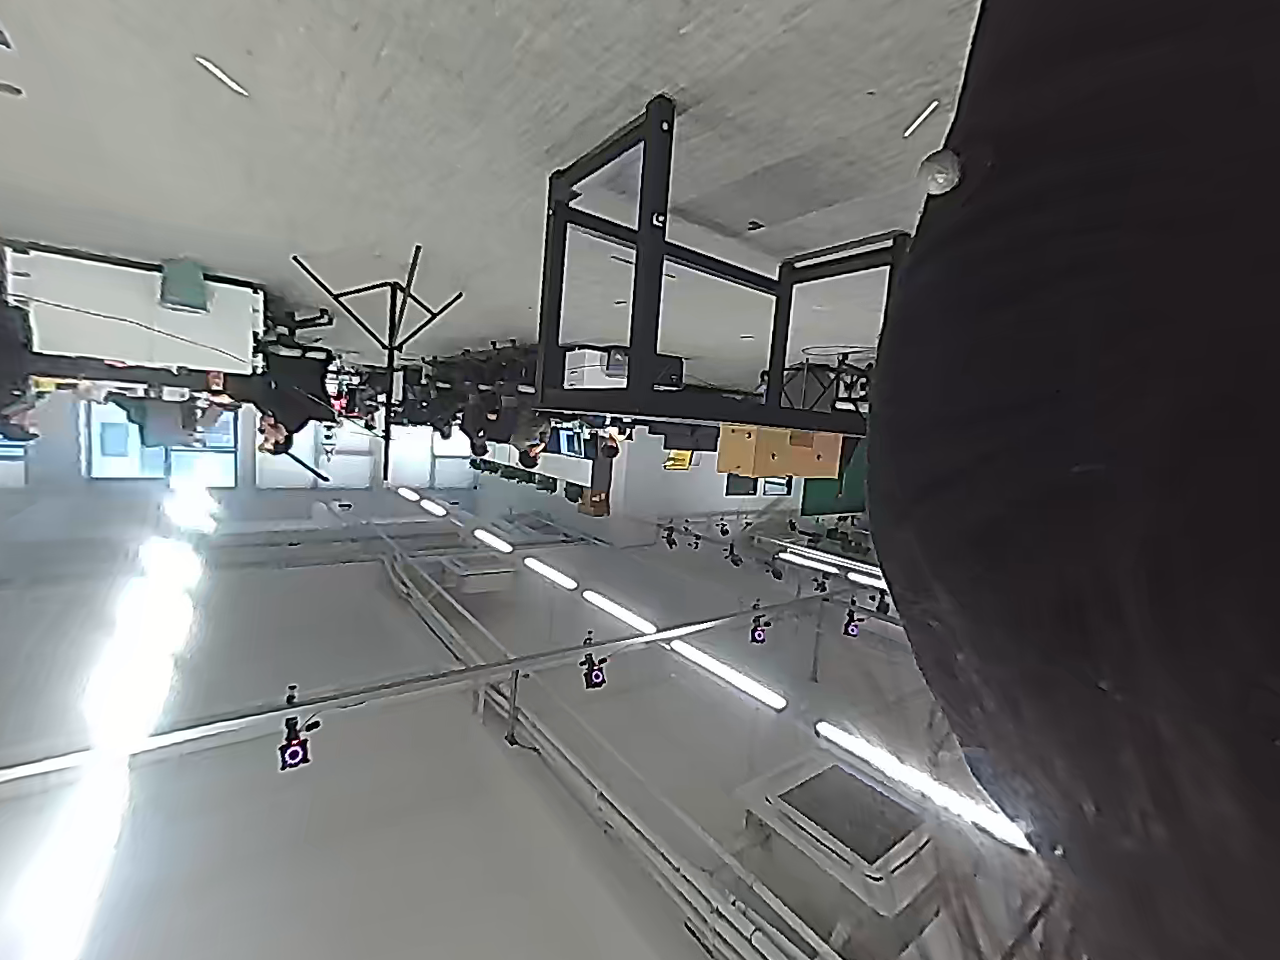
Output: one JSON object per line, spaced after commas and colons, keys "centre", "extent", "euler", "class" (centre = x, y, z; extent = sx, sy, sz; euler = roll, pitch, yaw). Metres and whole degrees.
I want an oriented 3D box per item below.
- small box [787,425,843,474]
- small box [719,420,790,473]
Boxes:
{"centre": [0.636, -0.116, 2.025], "extent": [0.179, 0.176, 0.168], "euler": [0, -171, -34], "class": "small box"}
{"centre": [0.393, -0.116, 1.856], "extent": [0.179, 0.176, 0.168], "euler": [-1, -171, -37], "class": "small box"}
